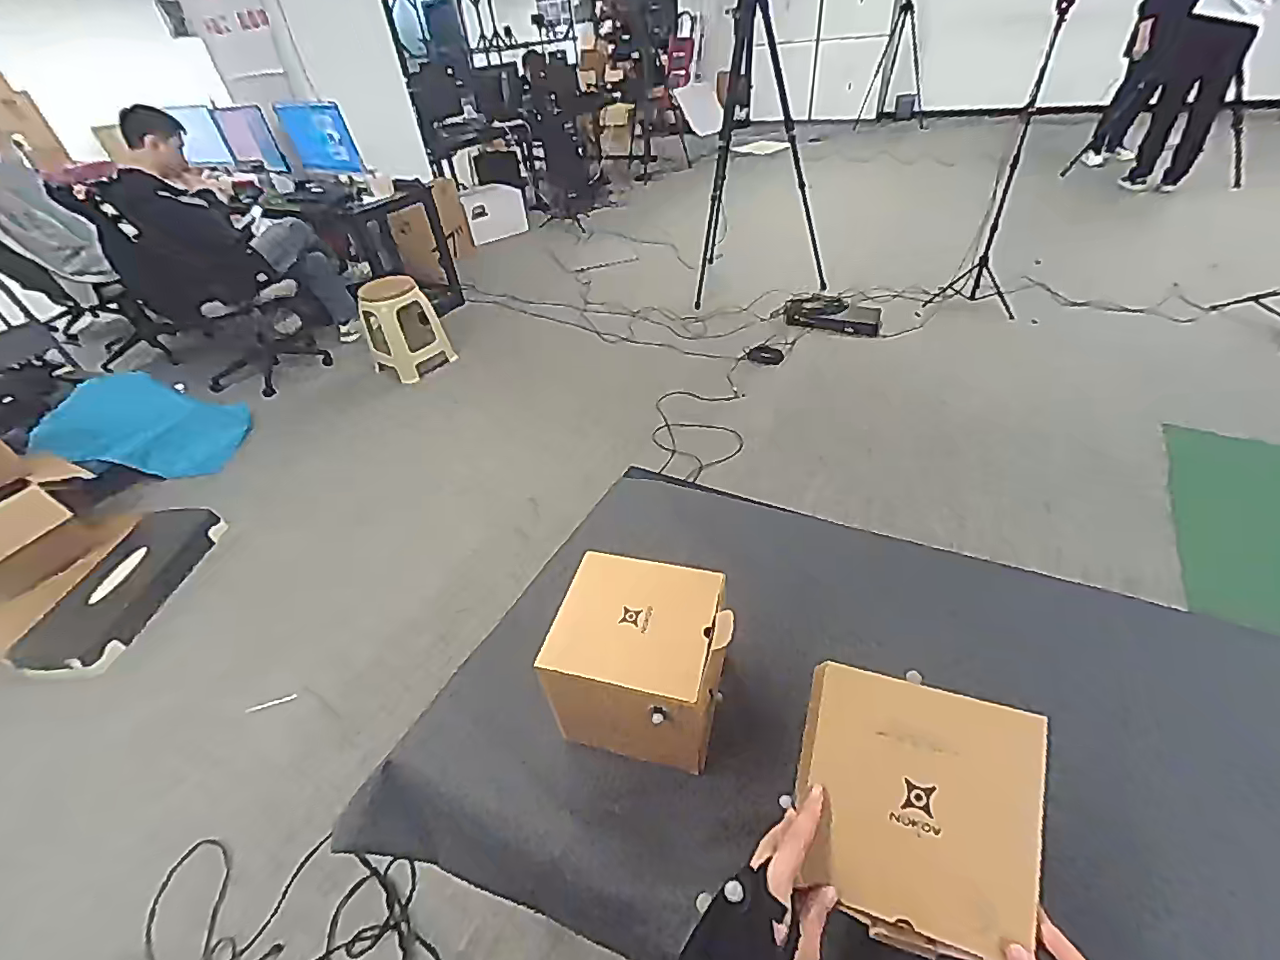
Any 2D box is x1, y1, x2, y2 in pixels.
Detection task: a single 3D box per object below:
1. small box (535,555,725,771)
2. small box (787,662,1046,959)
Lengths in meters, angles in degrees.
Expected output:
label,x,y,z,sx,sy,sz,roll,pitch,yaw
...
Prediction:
label,x,y,z,sx,sy,sz,roll,pitch,yaw
small box,0.002,0.215,0.642,0.179,0.176,0.168,6,41,15
small box,0.231,0.276,0.487,0.168,0.176,0.179,10,72,17
